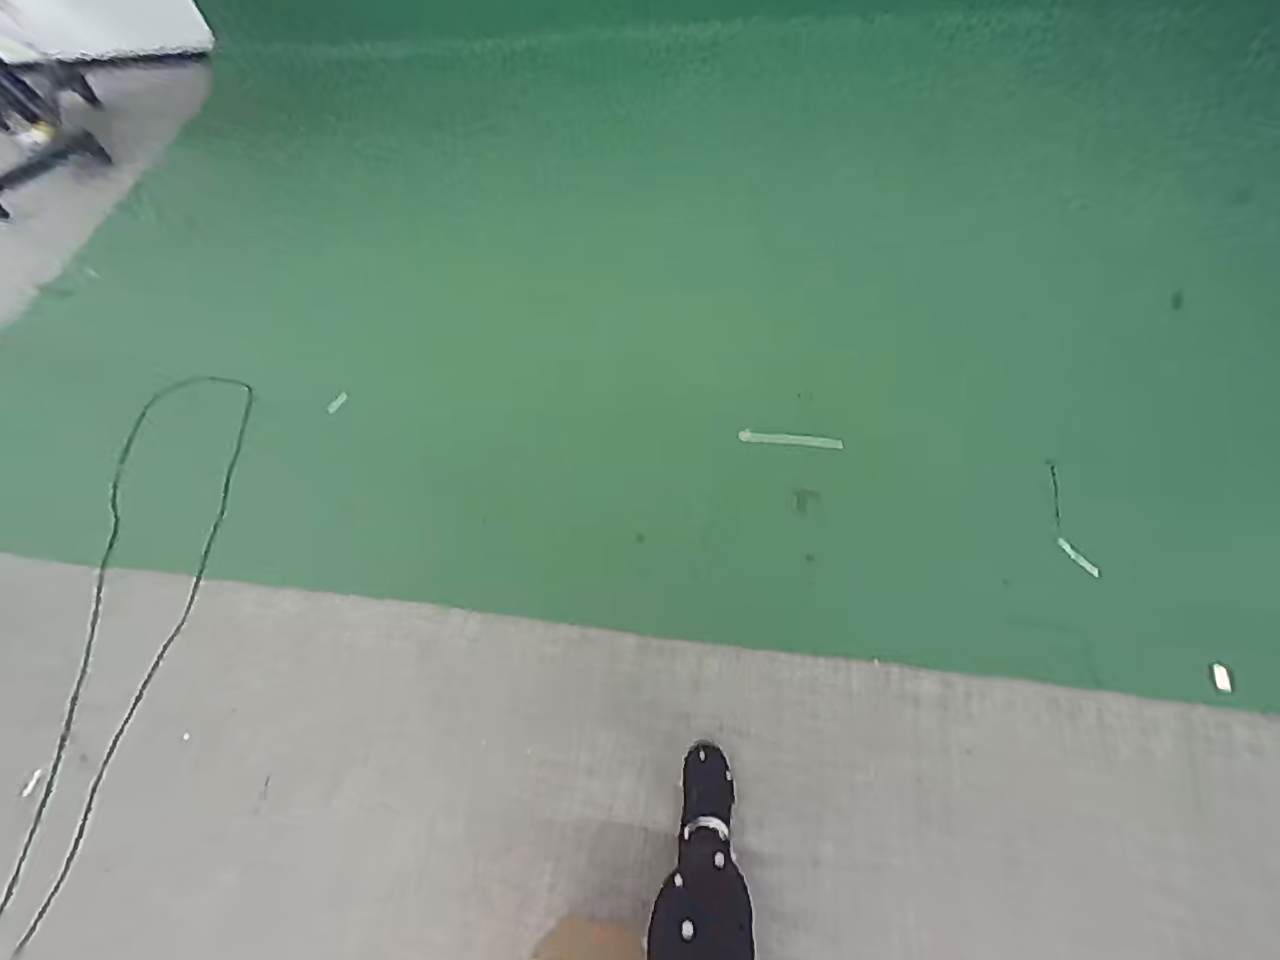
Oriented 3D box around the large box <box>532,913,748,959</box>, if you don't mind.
[{"bbox_3d":[0.000,1.065,1.020,0.408,0.320,0.320,3,64,8],"label":"large box"}]
